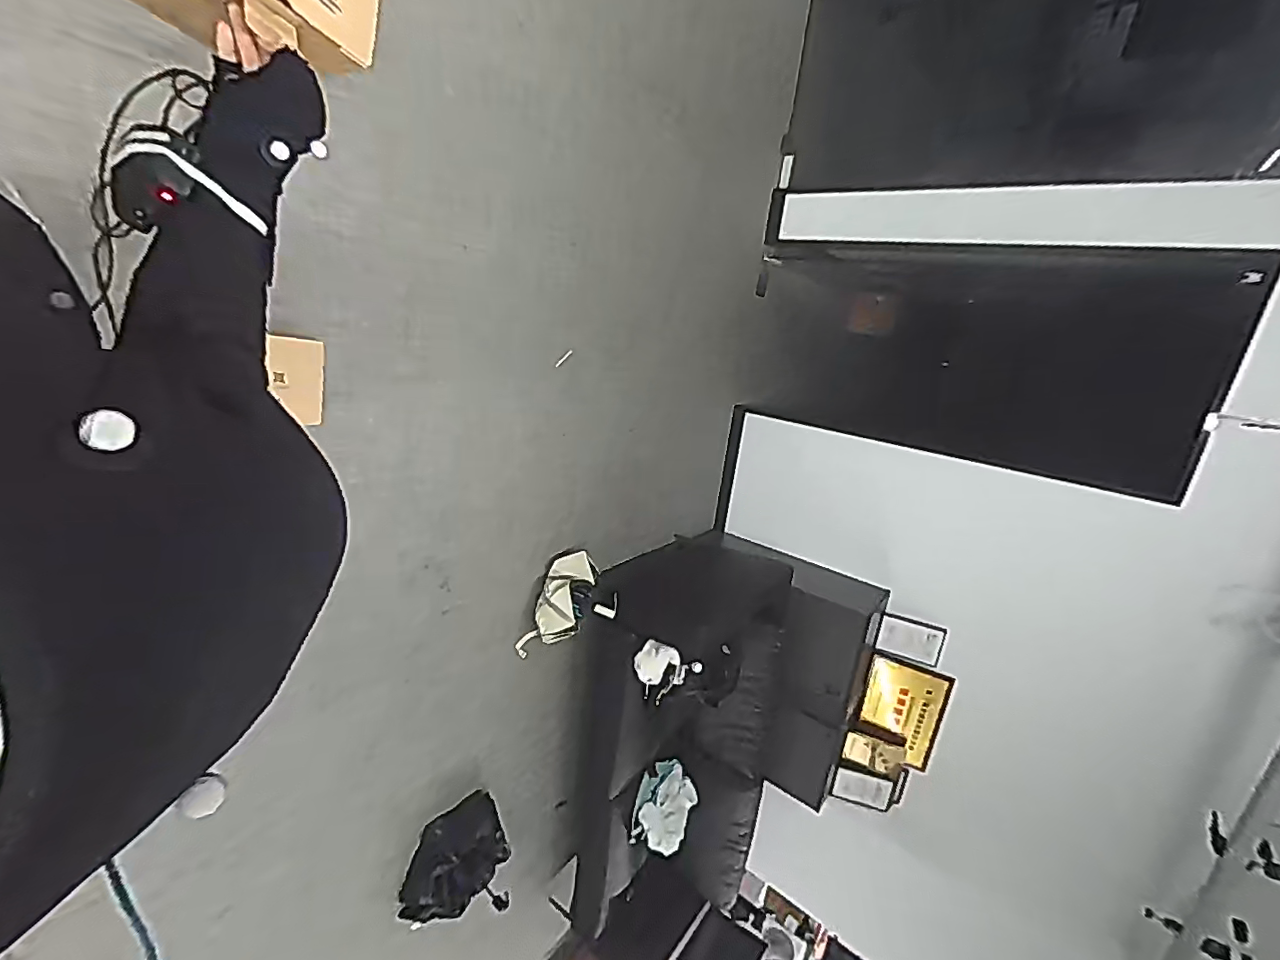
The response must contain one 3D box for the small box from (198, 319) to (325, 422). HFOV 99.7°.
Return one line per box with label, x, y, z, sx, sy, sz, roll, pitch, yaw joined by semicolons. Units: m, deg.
small box;-0.764;-0.219;1.089;0.168;0.176;0.179;-8;113;-54
